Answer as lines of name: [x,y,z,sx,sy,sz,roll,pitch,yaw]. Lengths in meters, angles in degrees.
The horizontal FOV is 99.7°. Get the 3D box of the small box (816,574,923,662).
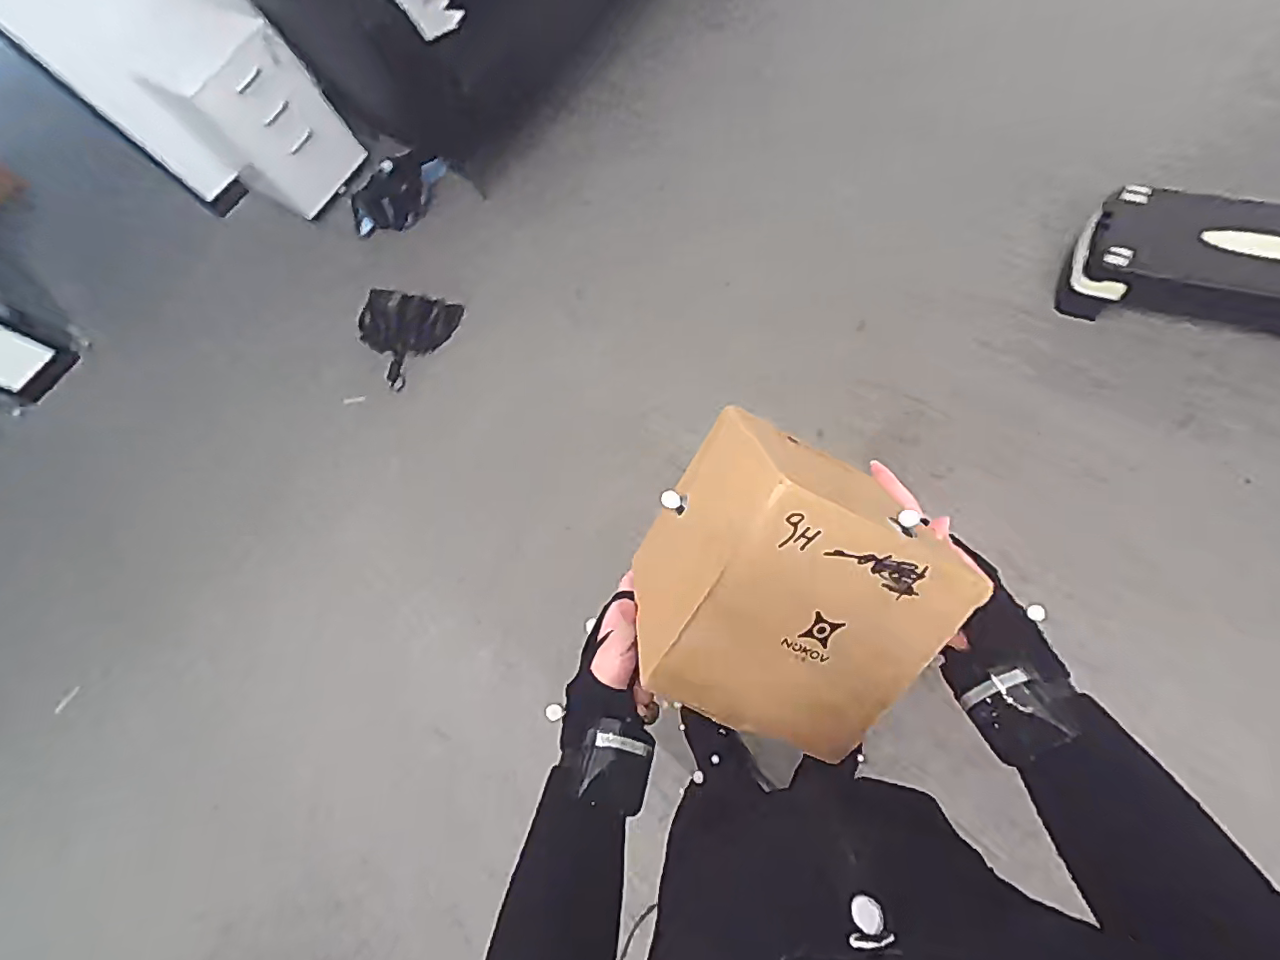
small box: [0.482,0.300,1.161,0.179,0.176,0.168,-6,68,14]
